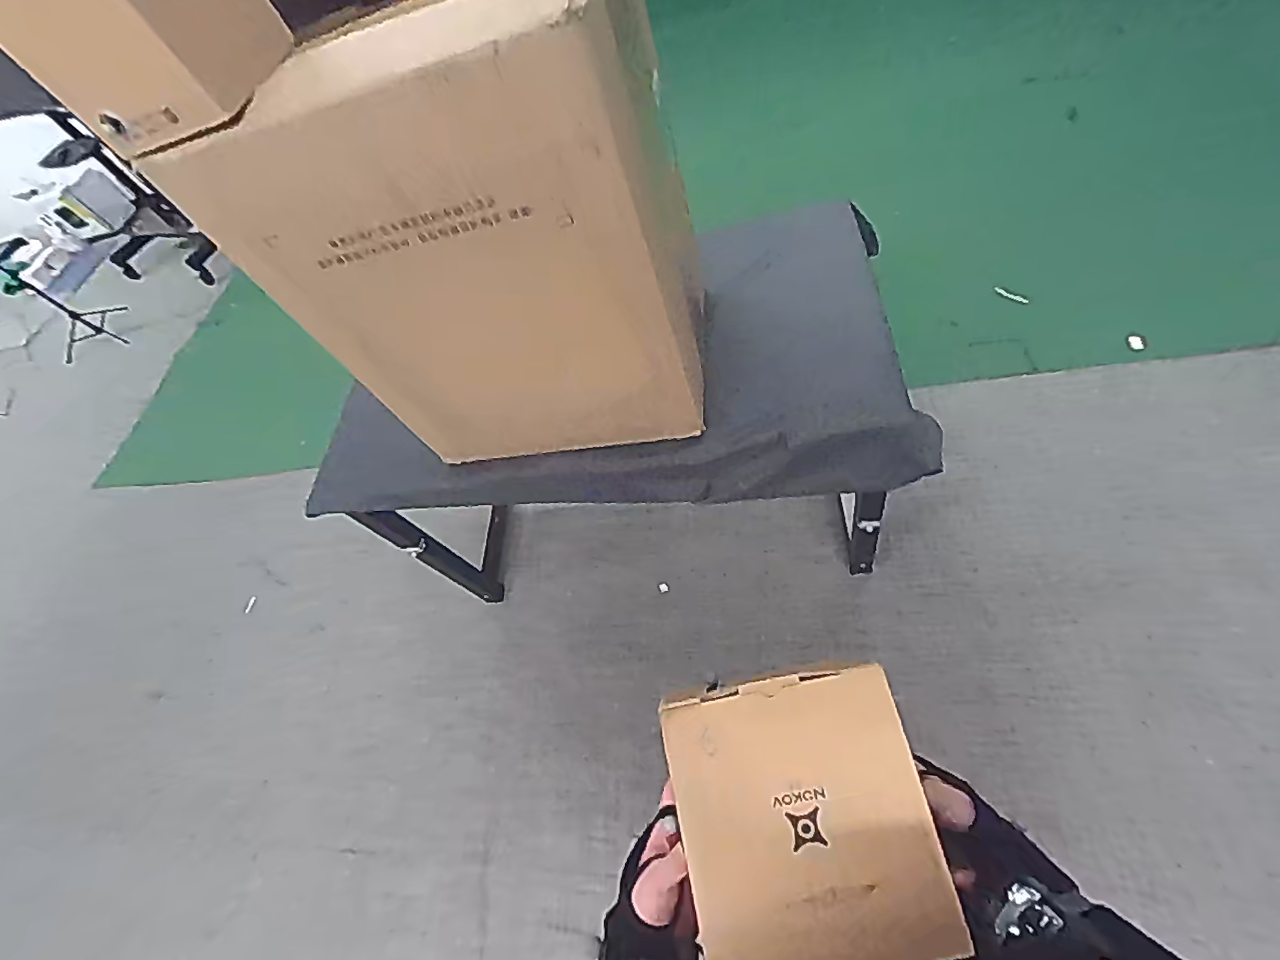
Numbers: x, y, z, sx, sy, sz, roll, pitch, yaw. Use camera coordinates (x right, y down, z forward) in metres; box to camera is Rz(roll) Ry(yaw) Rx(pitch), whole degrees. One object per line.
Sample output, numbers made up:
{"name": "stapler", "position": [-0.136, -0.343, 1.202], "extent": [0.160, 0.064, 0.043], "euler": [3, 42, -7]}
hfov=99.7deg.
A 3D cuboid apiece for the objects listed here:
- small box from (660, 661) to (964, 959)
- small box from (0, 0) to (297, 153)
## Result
{"name": "small box", "position": [0.112, 0.252, 0.438], "extent": [0.168, 0.176, 0.179], "euler": [-12, 71, 2]}
{"name": "small box", "position": [-0.504, -0.469, 0.558], "extent": [0.168, 0.176, 0.179], "euler": [-5, 58, 18]}
